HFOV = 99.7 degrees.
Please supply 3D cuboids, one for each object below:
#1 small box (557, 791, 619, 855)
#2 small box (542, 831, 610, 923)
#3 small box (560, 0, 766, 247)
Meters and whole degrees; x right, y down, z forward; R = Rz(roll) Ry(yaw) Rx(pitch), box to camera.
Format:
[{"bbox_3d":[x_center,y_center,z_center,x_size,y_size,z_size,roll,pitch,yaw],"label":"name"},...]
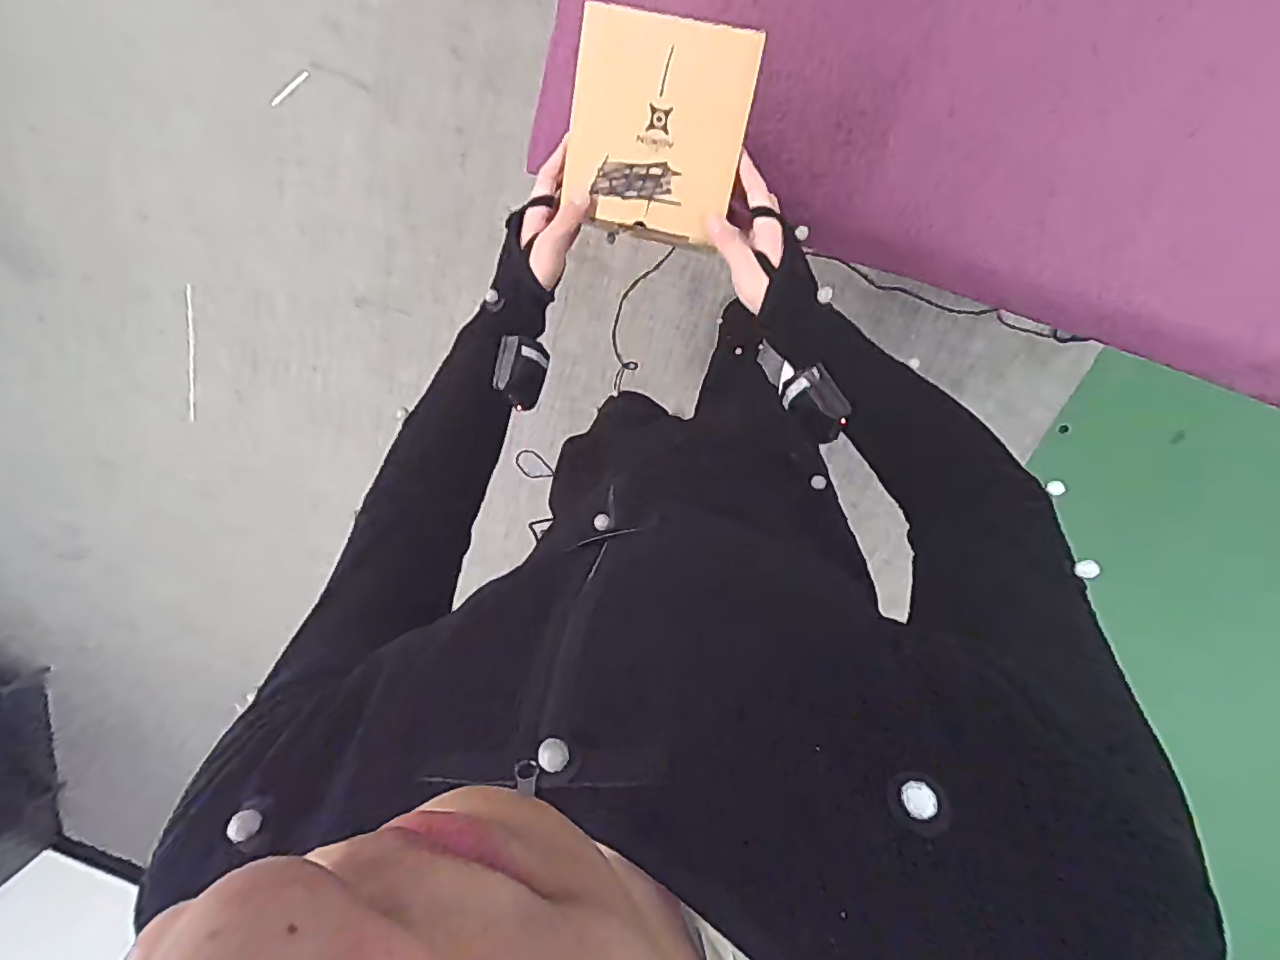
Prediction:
[{"bbox_3d":[-0.191,1.329,2.043,0.168,0.176,0.179,23,113,1],"label":"small box"},{"bbox_3d":[-0.219,1.383,1.892,0.168,0.176,0.179,23,112,1],"label":"small box"},{"bbox_3d":[0.025,-0.357,0.576,0.168,0.176,0.179,12,110,2],"label":"small box"}]
